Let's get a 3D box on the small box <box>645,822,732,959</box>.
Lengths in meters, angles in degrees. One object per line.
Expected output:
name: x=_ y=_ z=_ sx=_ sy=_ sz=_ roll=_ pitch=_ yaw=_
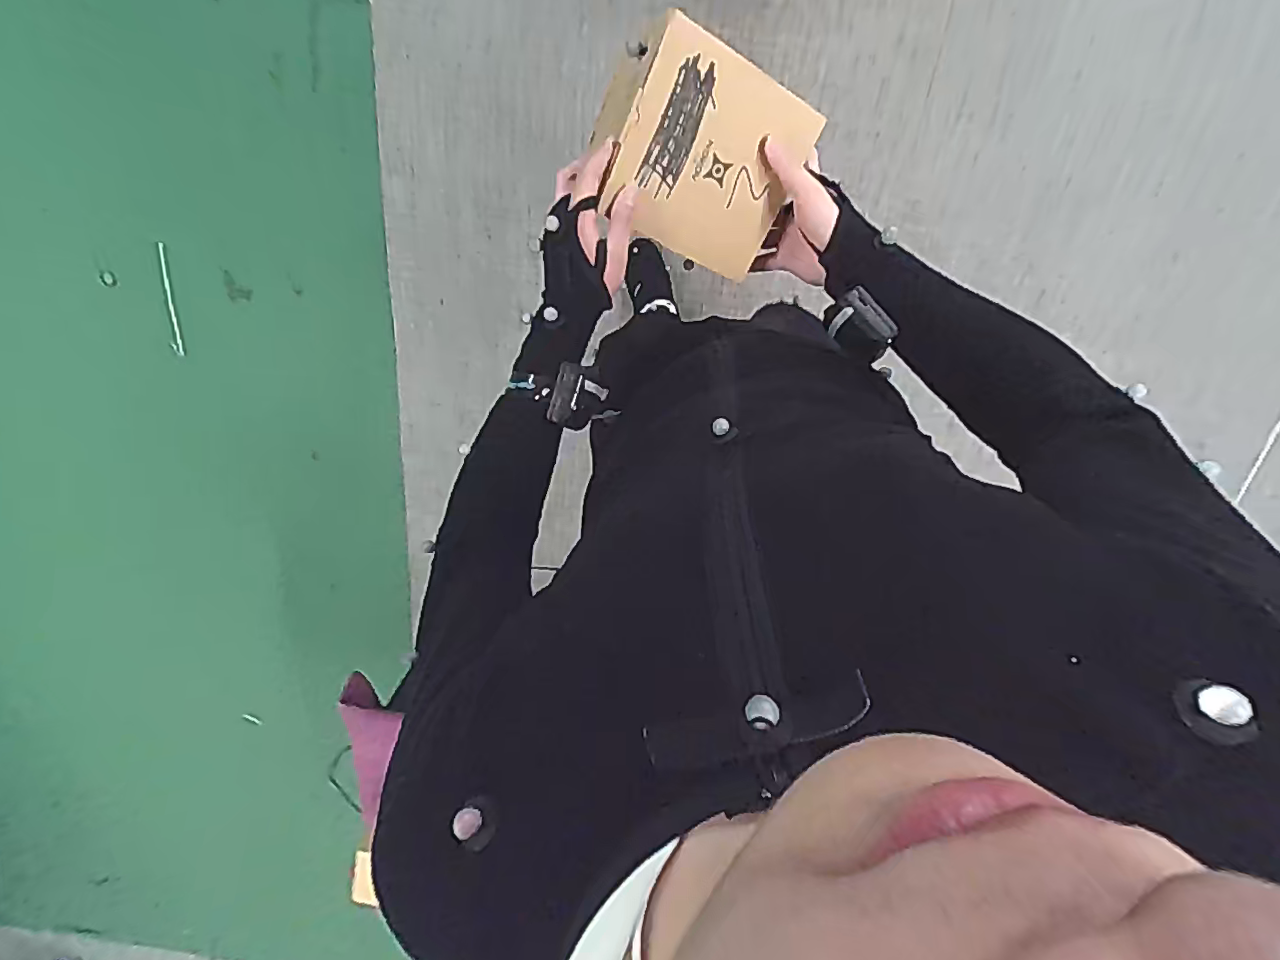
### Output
small box: x=0.098 y=0.864 z=1.150 sx=0.168 sy=0.176 sz=0.179 roll=3 pitch=113 yaw=3

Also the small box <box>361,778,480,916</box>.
small box: x=-0.464 y=0.777 z=1.158 sx=0.179 sy=0.176 sz=0.168 roll=15 pitch=112 yaw=-3
